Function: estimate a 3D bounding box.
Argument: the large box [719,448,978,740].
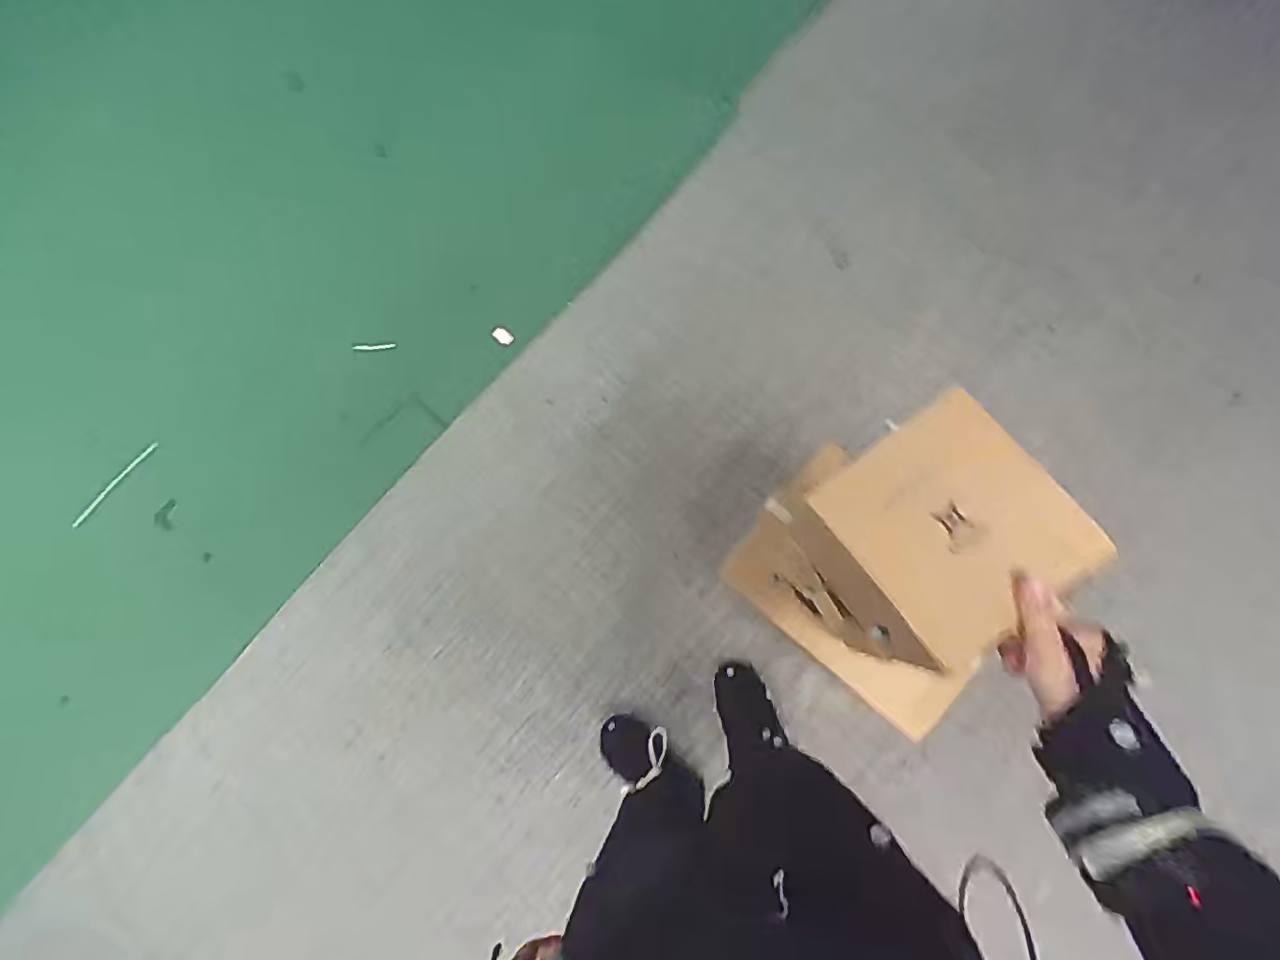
[{"bbox_3d":[0.402,0.205,1.043,0.408,0.320,0.320,40,87,13],"label":"large box"}]

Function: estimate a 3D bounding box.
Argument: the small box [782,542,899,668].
[{"bbox_3d":[0.296,0.101,0.661,0.179,0.176,0.168,-35,76,0],"label":"small box"}]

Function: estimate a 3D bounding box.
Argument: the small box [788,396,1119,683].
[{"bbox_3d":[0.261,0.060,0.505,0.168,0.176,0.179,-35,73,-2],"label":"small box"}]
